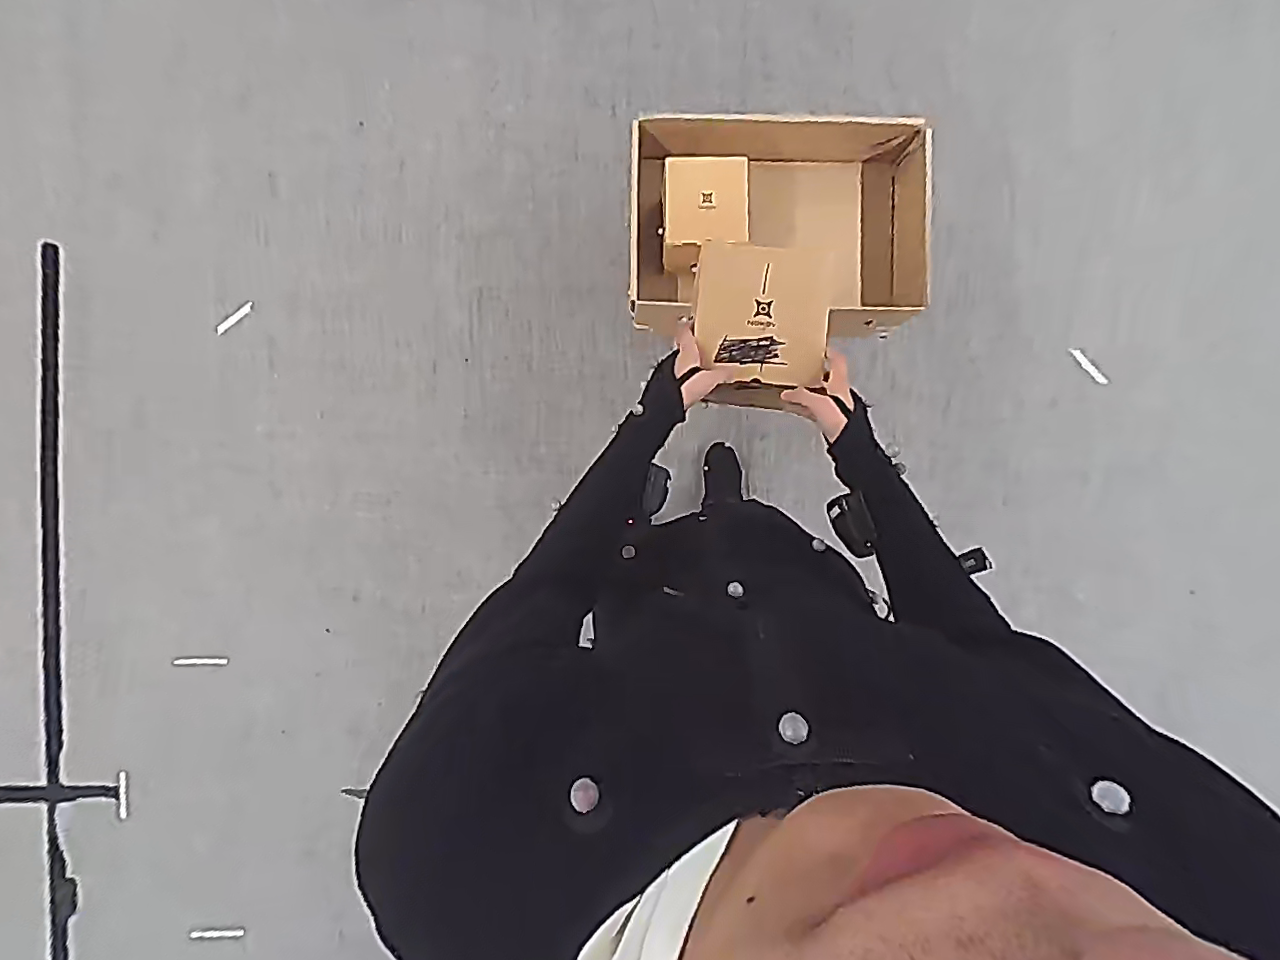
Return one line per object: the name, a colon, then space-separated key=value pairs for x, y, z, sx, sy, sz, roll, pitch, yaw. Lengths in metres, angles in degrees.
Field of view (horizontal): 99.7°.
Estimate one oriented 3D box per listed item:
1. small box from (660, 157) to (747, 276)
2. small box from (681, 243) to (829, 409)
small box: x=0.129 y=-0.552 z=1.150 sx=0.168 sy=0.176 sz=0.179 roll=-1 pitch=90 yaw=-1
small box: x=0.147 y=-0.200 z=0.749 sx=0.168 sy=0.176 sz=0.179 roll=5 pitch=88 yaw=1
